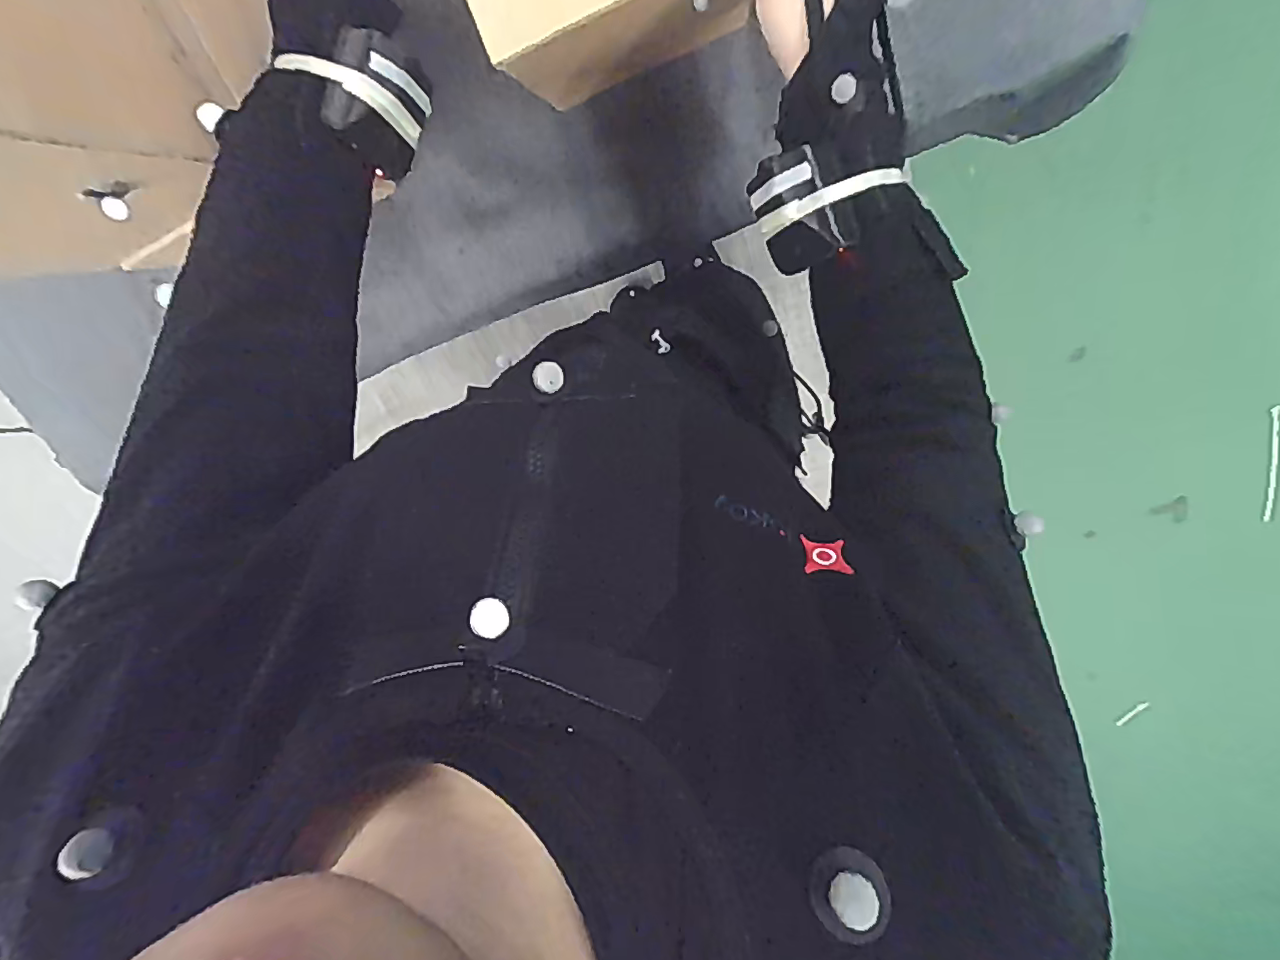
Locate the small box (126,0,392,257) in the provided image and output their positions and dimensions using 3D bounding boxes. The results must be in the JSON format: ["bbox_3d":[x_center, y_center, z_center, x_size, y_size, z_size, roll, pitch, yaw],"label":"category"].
[{"bbox_3d":[-0.347,-0.302,0.439,0.168,0.176,0.179,-18,113,14],"label":"small box"}]

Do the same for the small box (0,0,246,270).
[{"bbox_3d":[-0.369,-0.228,0.296,0.179,0.176,0.168,-19,111,16],"label":"small box"}]
